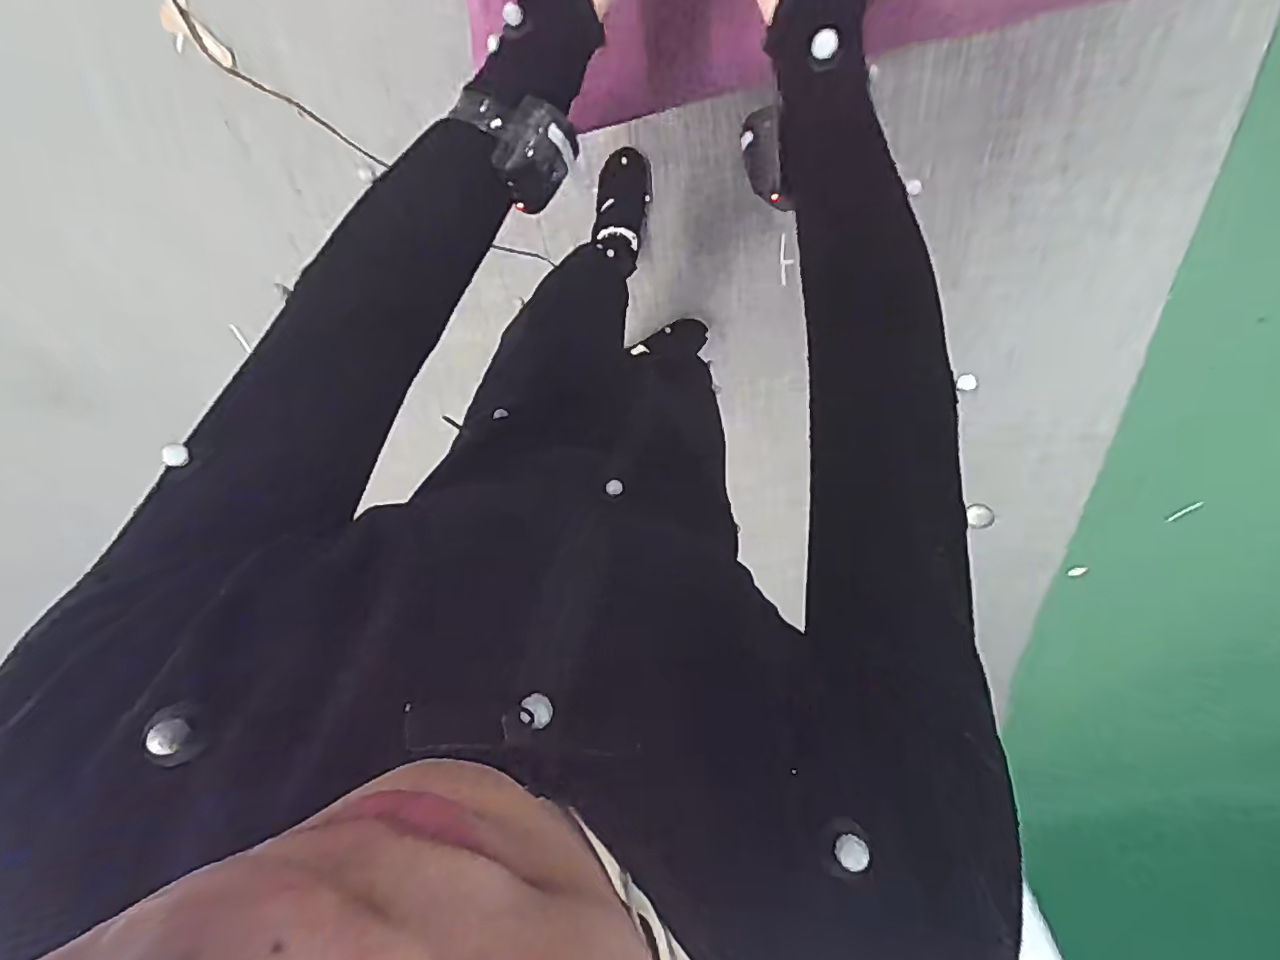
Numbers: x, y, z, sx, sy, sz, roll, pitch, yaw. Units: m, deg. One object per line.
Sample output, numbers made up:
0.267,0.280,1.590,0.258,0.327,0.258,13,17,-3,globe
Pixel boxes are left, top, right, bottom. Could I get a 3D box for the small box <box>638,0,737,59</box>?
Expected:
0.085,-0.915,1.023,0.179,0.176,0.168,-6,126,6,small box
